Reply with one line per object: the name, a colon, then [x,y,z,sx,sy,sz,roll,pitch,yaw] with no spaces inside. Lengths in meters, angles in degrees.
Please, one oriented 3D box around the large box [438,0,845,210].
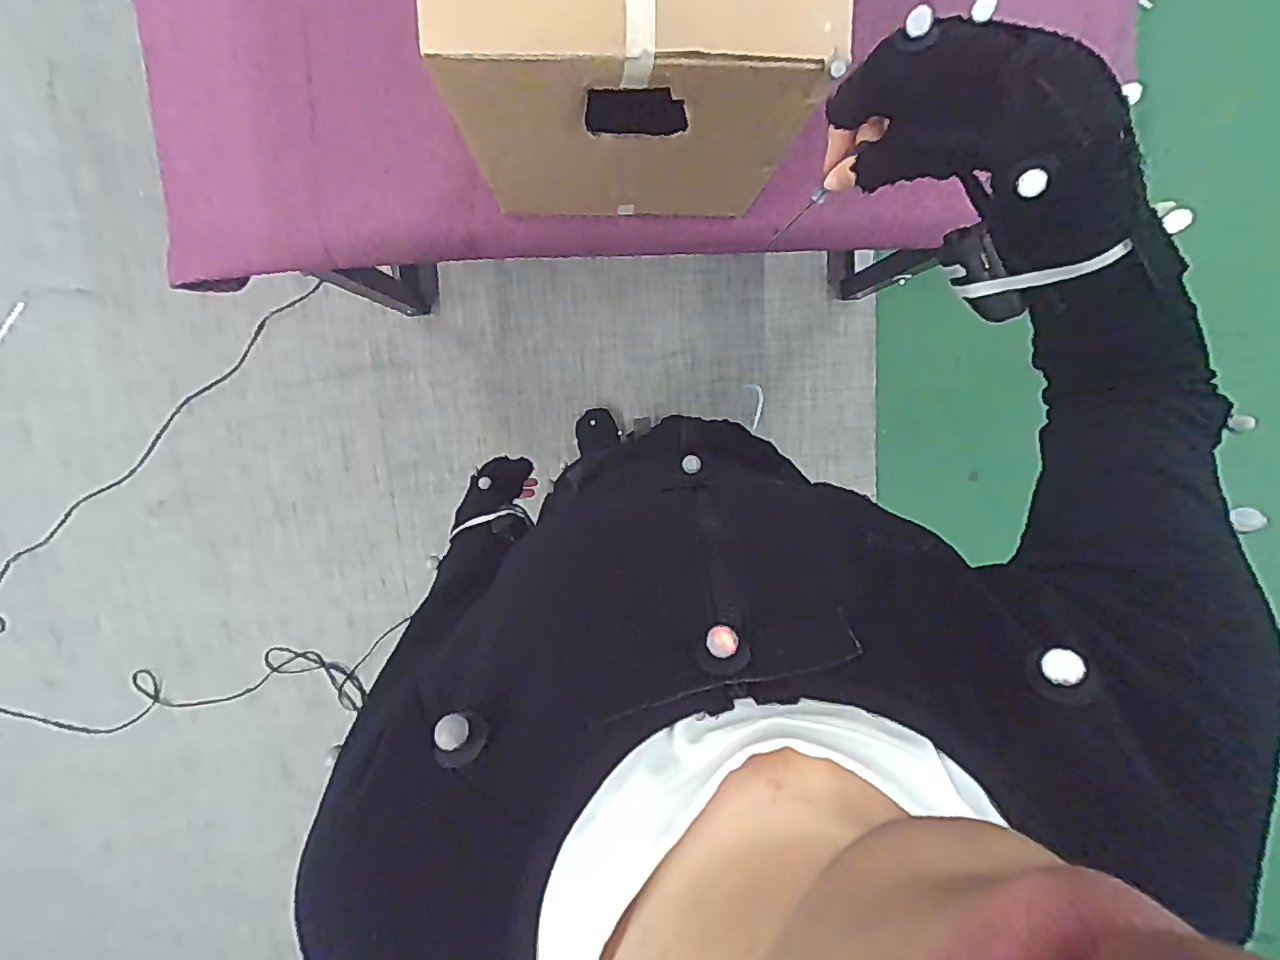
large box: [-0.009,-0.528,0.528,0.320,0.320,0.408,-1,98,-3]
